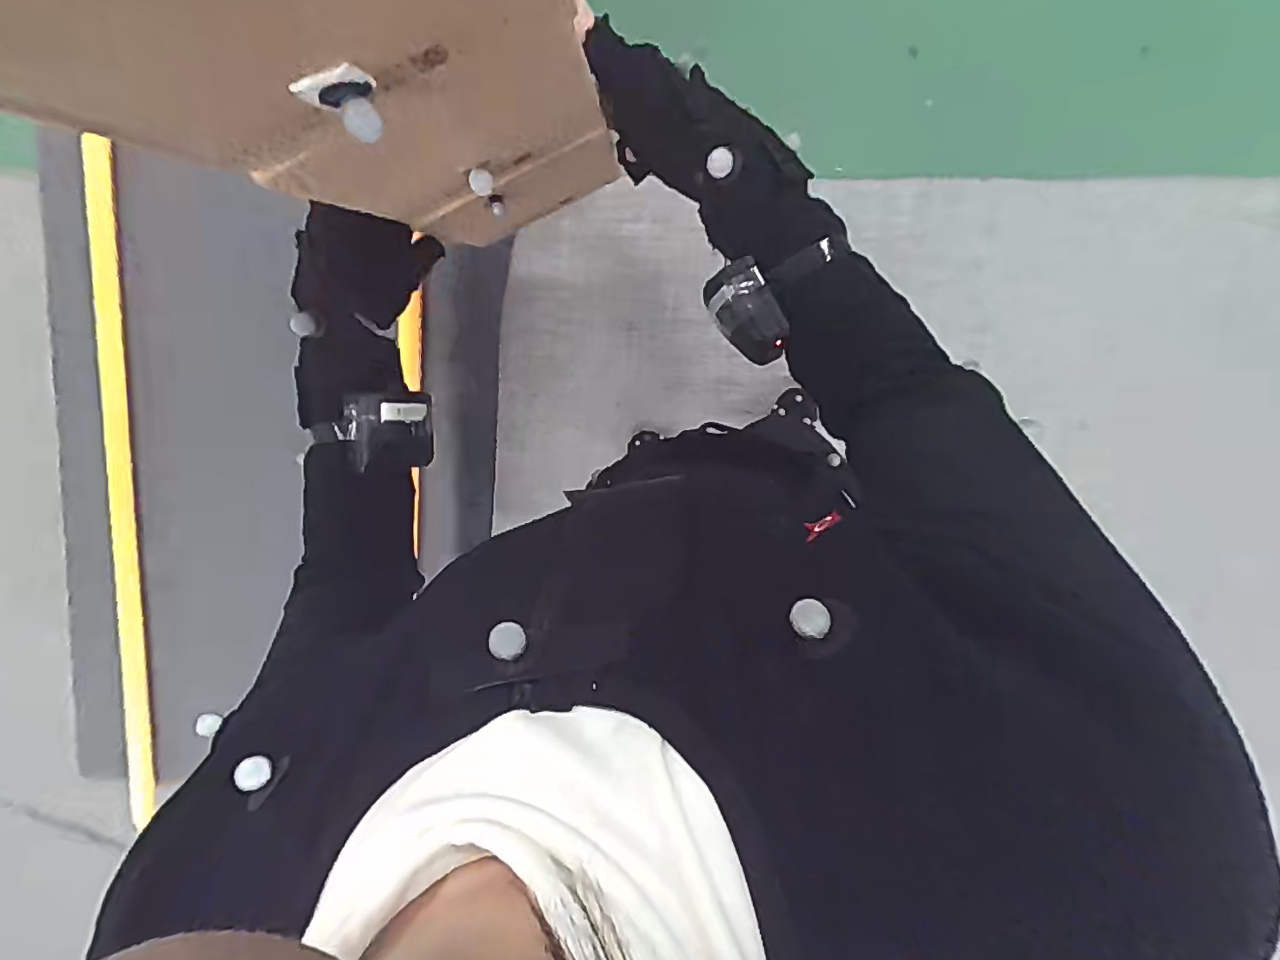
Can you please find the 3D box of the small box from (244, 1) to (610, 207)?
[{"bbox_3d":[-0.126,-0.274,0.291,0.168,0.176,0.179,-19,108,9],"label":"small box"}]

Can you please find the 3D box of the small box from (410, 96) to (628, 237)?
[{"bbox_3d":[-0.118,-0.325,0.448,0.168,0.176,0.179,-20,107,10],"label":"small box"}]
